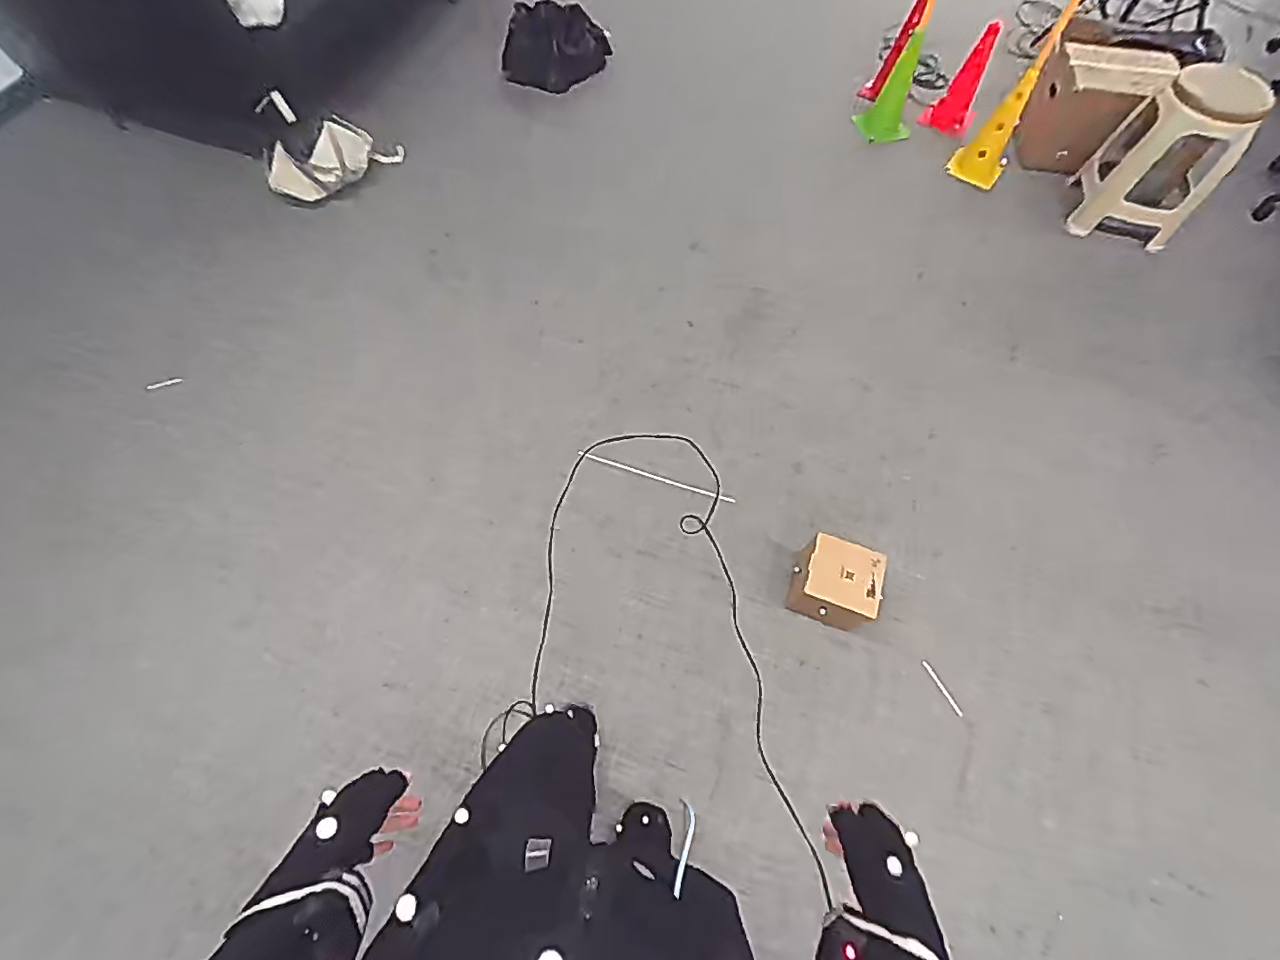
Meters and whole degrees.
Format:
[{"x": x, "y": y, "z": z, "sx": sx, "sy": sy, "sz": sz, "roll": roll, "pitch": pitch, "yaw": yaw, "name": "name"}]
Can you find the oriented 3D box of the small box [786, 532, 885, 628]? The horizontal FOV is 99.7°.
[{"x": 0.487, "y": 0.259, "z": 1.364, "sx": 0.179, "sy": 0.176, "sz": 0.168, "roll": 20, "pitch": 66, "yaw": 8, "name": "small box"}]
